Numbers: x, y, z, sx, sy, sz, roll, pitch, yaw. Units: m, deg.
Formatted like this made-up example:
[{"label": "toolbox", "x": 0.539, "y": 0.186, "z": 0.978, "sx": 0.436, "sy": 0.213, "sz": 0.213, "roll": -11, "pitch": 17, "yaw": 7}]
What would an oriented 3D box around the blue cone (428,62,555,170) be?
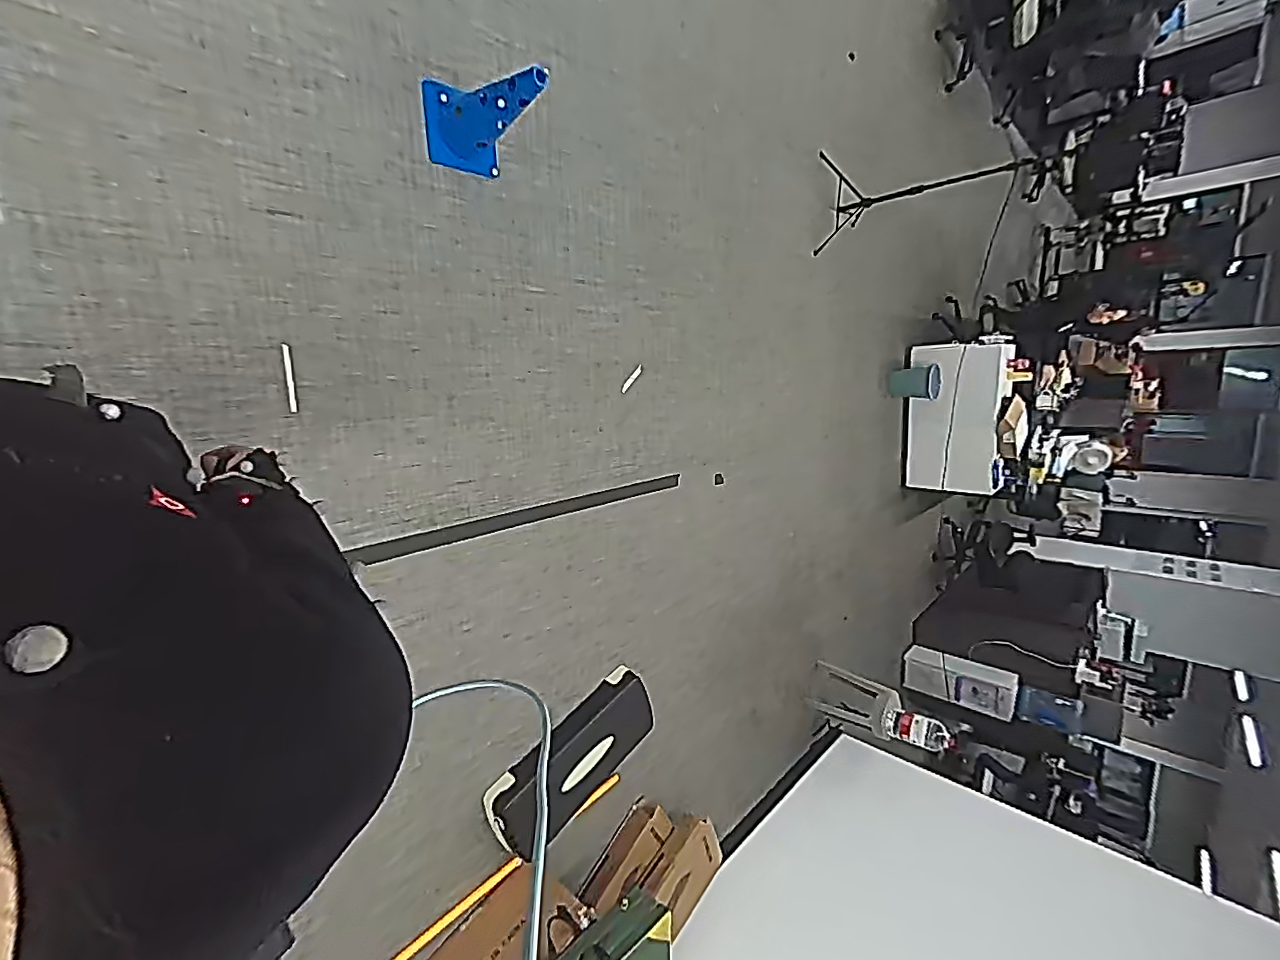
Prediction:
[{"label": "blue cone", "x": -0.344, "y": -0.917, "z": 1.309, "sx": 0.192, "sy": 0.380, "sz": 0.193, "roll": -11, "pitch": 104, "yaw": -46}]
